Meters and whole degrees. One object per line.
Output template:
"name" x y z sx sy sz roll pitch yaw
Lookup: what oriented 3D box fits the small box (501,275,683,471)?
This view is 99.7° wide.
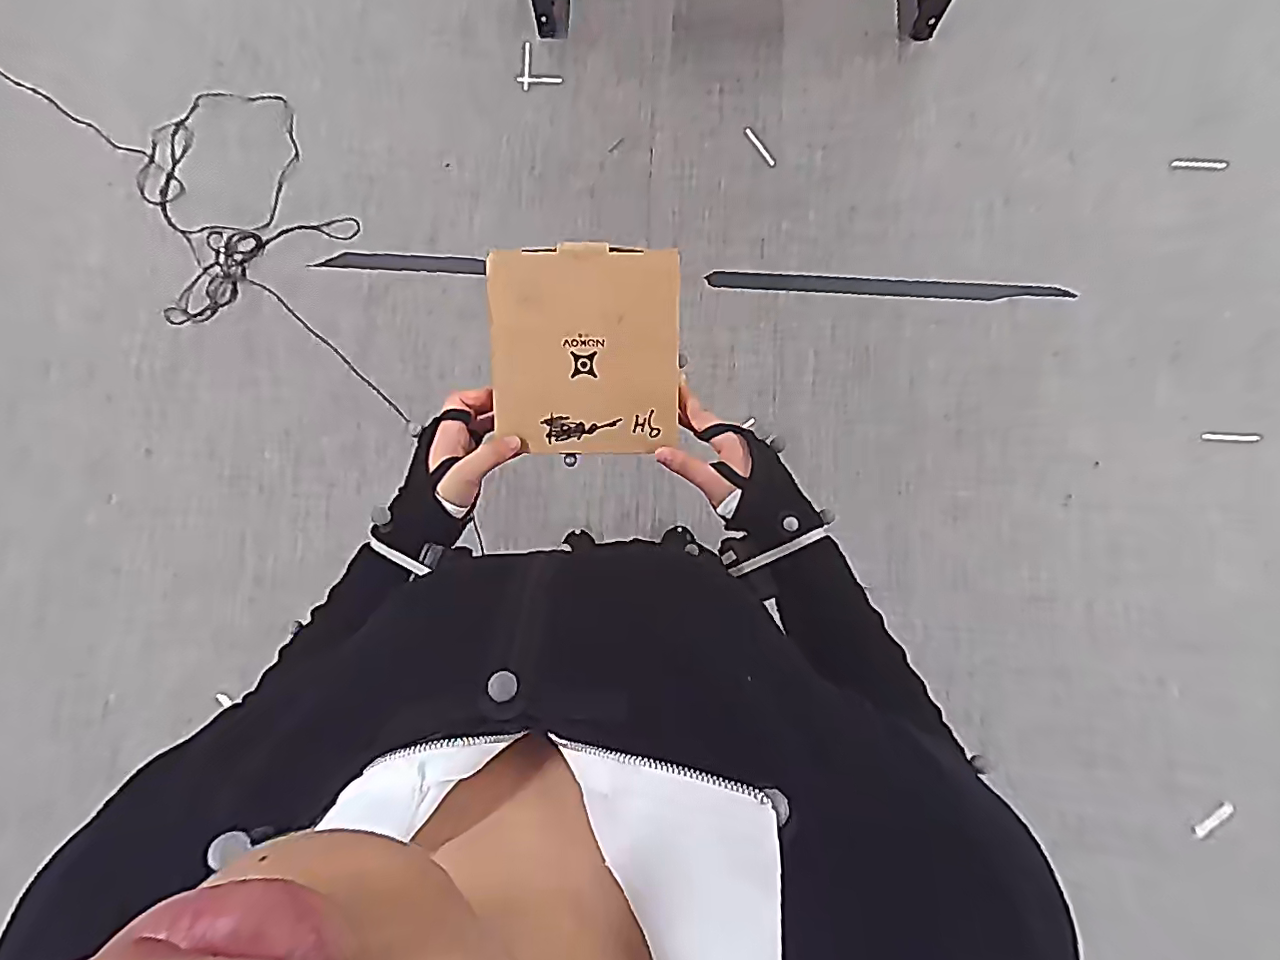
"small box" -0.045 -0.106 0.569 0.168 0.176 0.179 0 99 0
